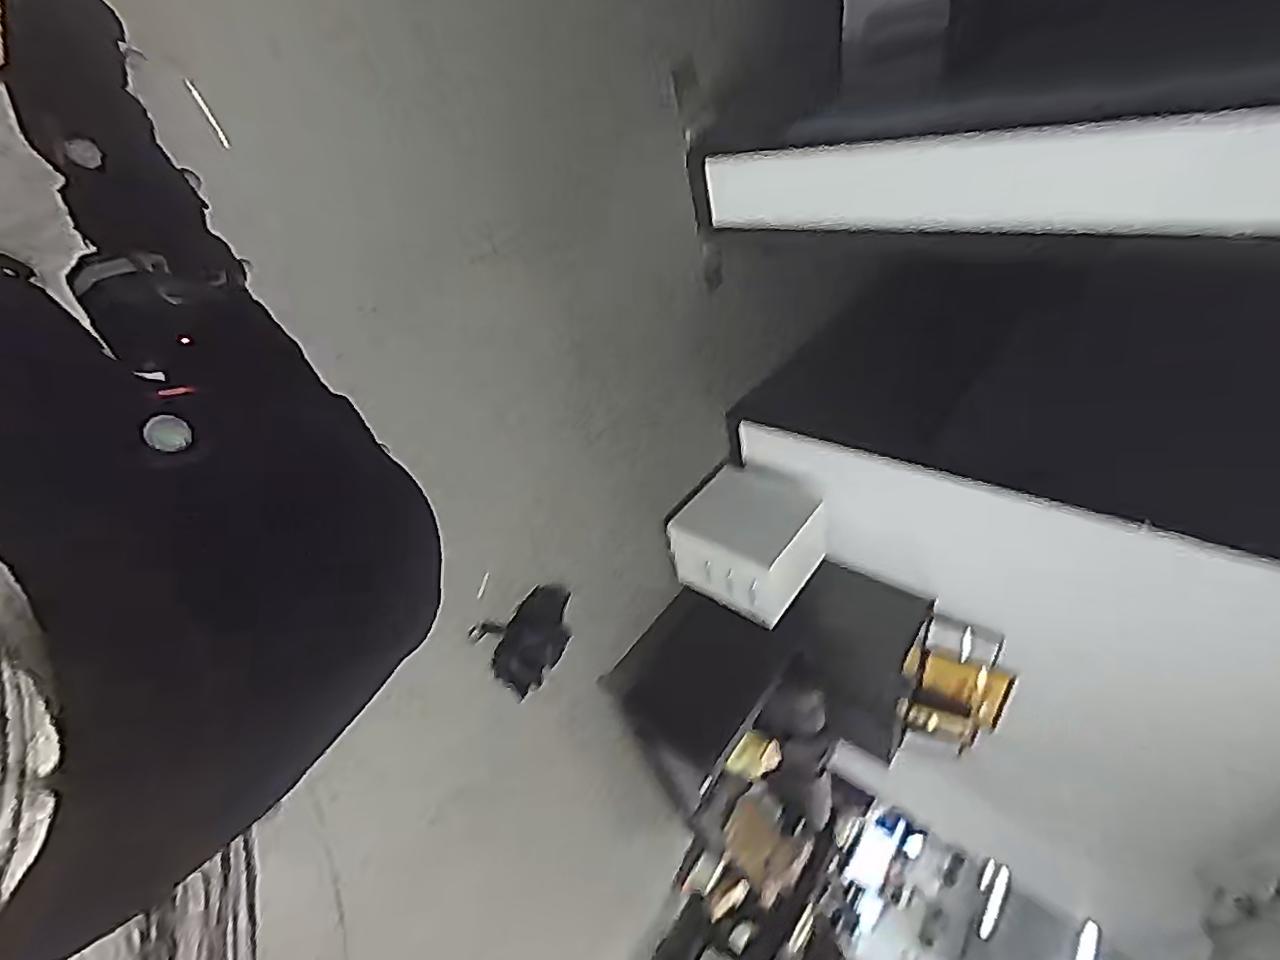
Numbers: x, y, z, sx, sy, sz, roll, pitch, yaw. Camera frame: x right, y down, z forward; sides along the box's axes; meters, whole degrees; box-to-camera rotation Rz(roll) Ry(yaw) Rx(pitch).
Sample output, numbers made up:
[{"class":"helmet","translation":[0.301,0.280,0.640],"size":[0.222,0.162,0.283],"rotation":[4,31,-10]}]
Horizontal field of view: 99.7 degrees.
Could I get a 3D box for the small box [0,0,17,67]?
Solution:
[{"class":"small box","translation":[-0.490,-0.356,0.298],"size":[0.179,0.176,0.168],"rotation":[-4,119,-45]}]
